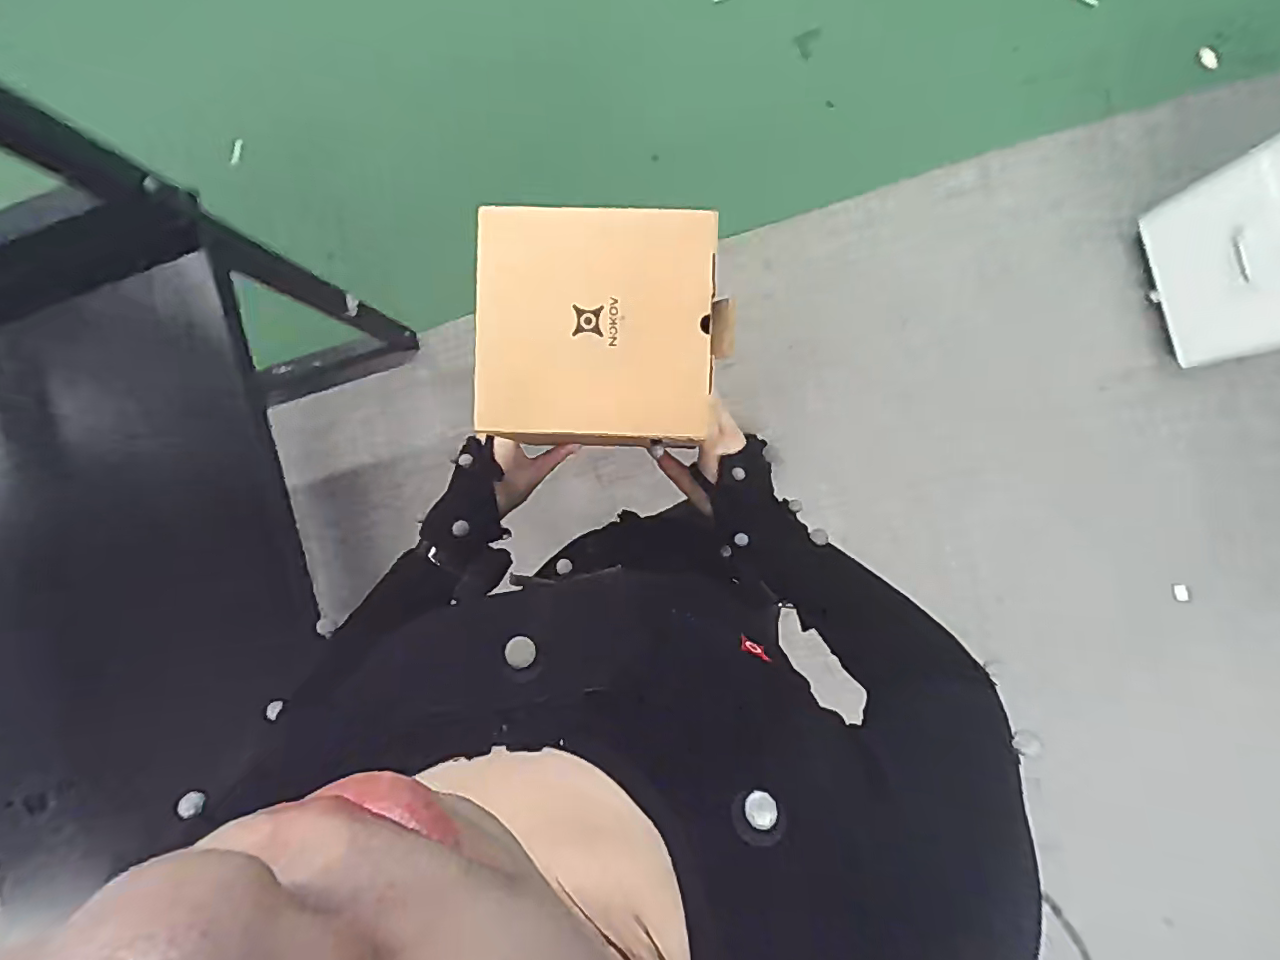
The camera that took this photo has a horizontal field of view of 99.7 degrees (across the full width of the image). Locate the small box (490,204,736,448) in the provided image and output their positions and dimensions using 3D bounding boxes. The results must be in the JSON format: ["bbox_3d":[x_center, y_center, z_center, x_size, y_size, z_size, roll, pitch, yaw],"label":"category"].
[{"bbox_3d":[-0.019,-0.115,0.470,0.179,0.176,0.168,1,90,0],"label":"small box"}]
